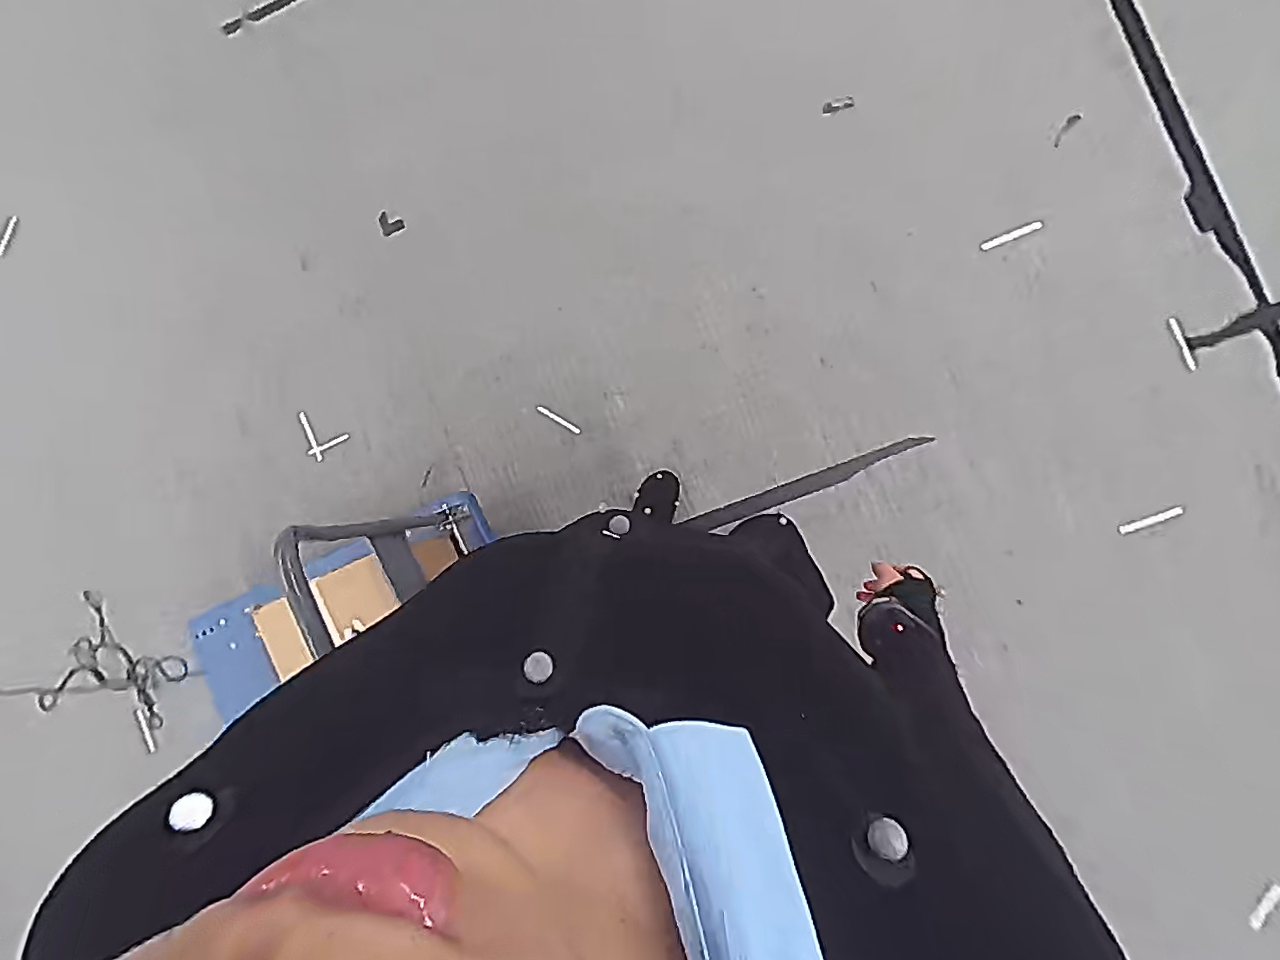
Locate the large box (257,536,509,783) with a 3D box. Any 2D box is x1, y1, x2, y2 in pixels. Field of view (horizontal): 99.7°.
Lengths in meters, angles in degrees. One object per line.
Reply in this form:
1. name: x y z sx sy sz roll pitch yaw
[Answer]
1. large box: -0.563 0.385 1.252 0.320 0.320 0.408 -25 88 5
